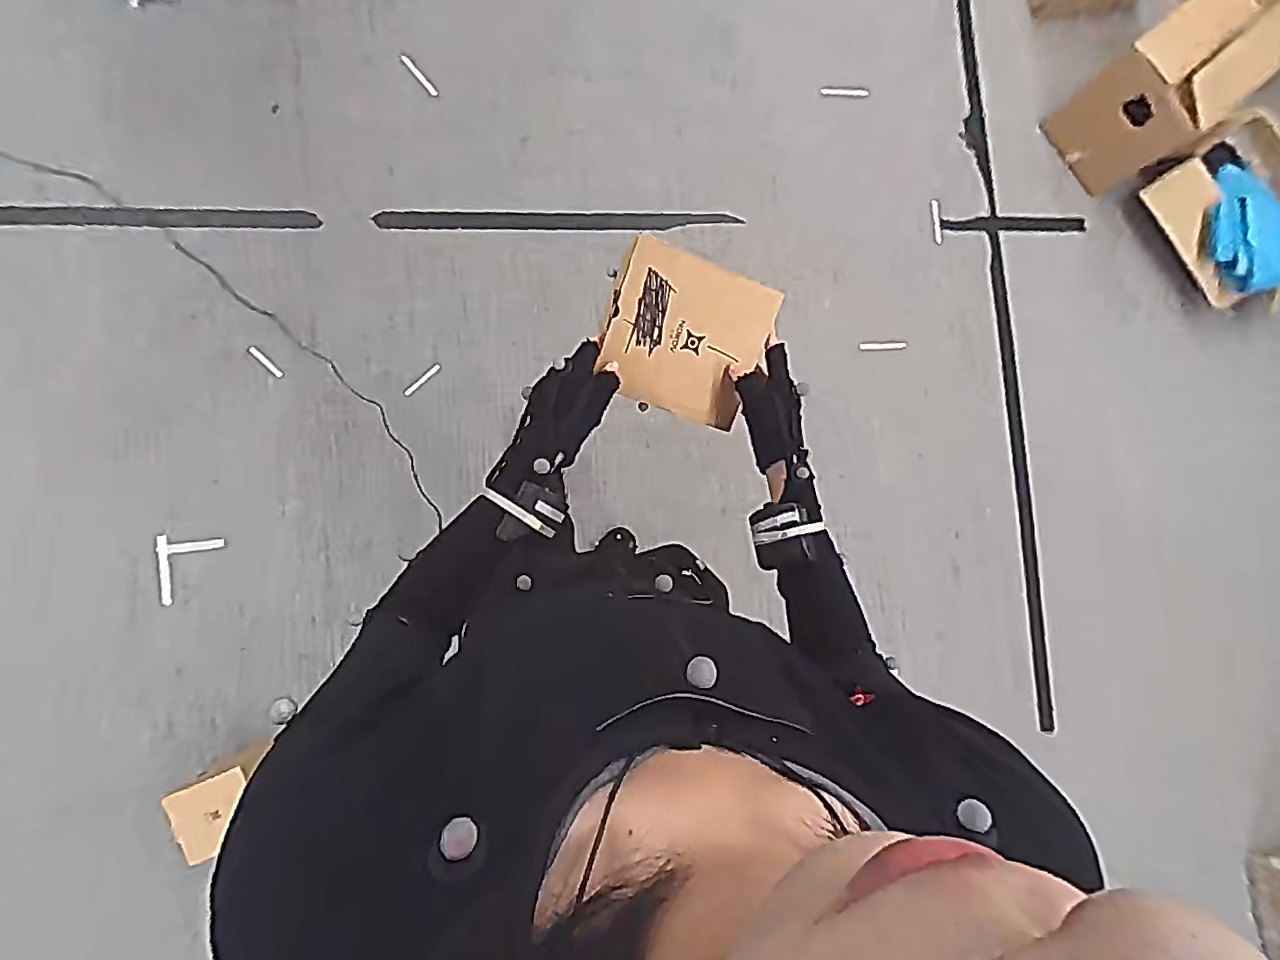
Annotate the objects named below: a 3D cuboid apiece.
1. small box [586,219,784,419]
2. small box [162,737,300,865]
[{"bbox_3d":[0.039,-0.187,0.659,0.179,0.176,0.168,17,102,-12],"label":"small box"},{"bbox_3d":[-0.960,0.751,1.284,0.179,0.176,0.168,-23,90,-9],"label":"small box"}]
